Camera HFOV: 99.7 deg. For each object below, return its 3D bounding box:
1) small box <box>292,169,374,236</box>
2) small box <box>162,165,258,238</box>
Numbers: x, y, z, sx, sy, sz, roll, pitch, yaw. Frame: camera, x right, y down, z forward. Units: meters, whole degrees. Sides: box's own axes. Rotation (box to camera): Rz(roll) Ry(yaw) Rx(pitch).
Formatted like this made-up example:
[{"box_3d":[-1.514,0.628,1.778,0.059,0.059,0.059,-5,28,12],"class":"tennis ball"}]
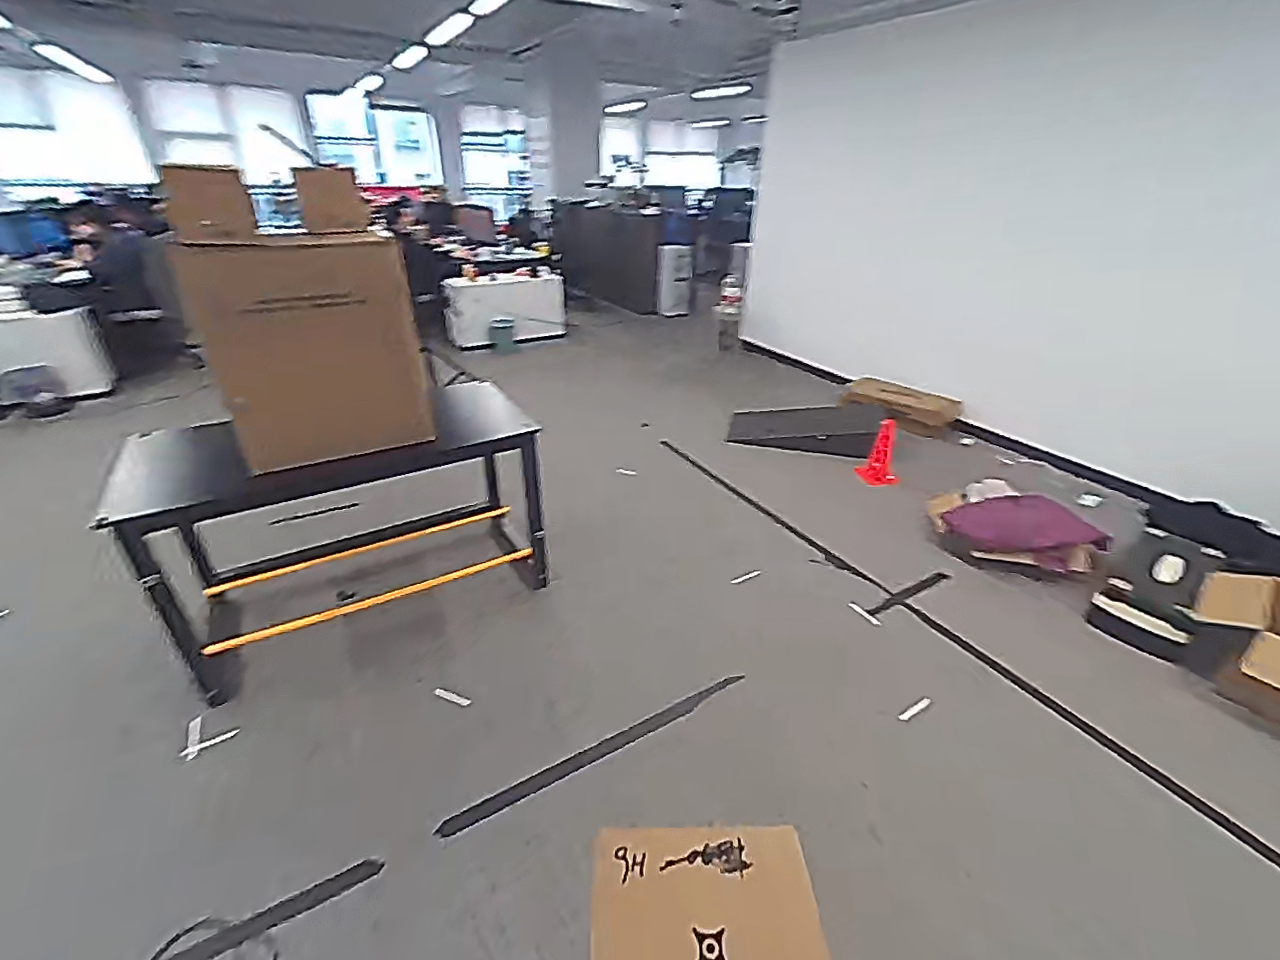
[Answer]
[{"box_3d":[-0.910,-0.822,1.604,0.168,0.176,0.179,-18,34,-29],"class":"small box"},{"box_3d":[-1.177,-0.765,1.492,0.168,0.176,0.179,-16,32,-29],"class":"small box"}]
